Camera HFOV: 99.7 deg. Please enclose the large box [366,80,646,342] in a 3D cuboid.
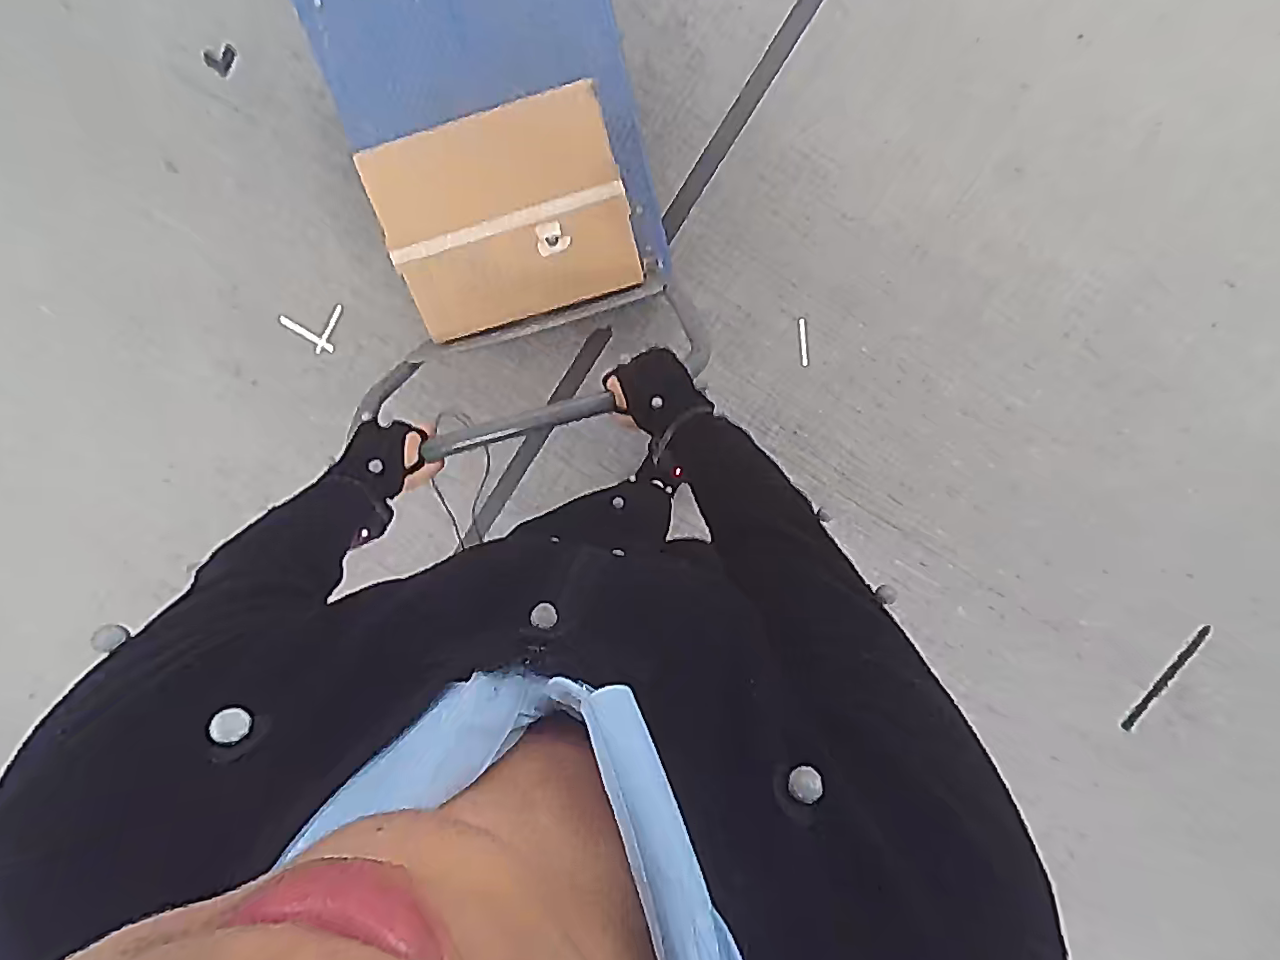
[{"bbox_3d":[-0.230,-0.503,1.064,0.408,0.320,0.320,-17,115,3],"label":"large box"}]
